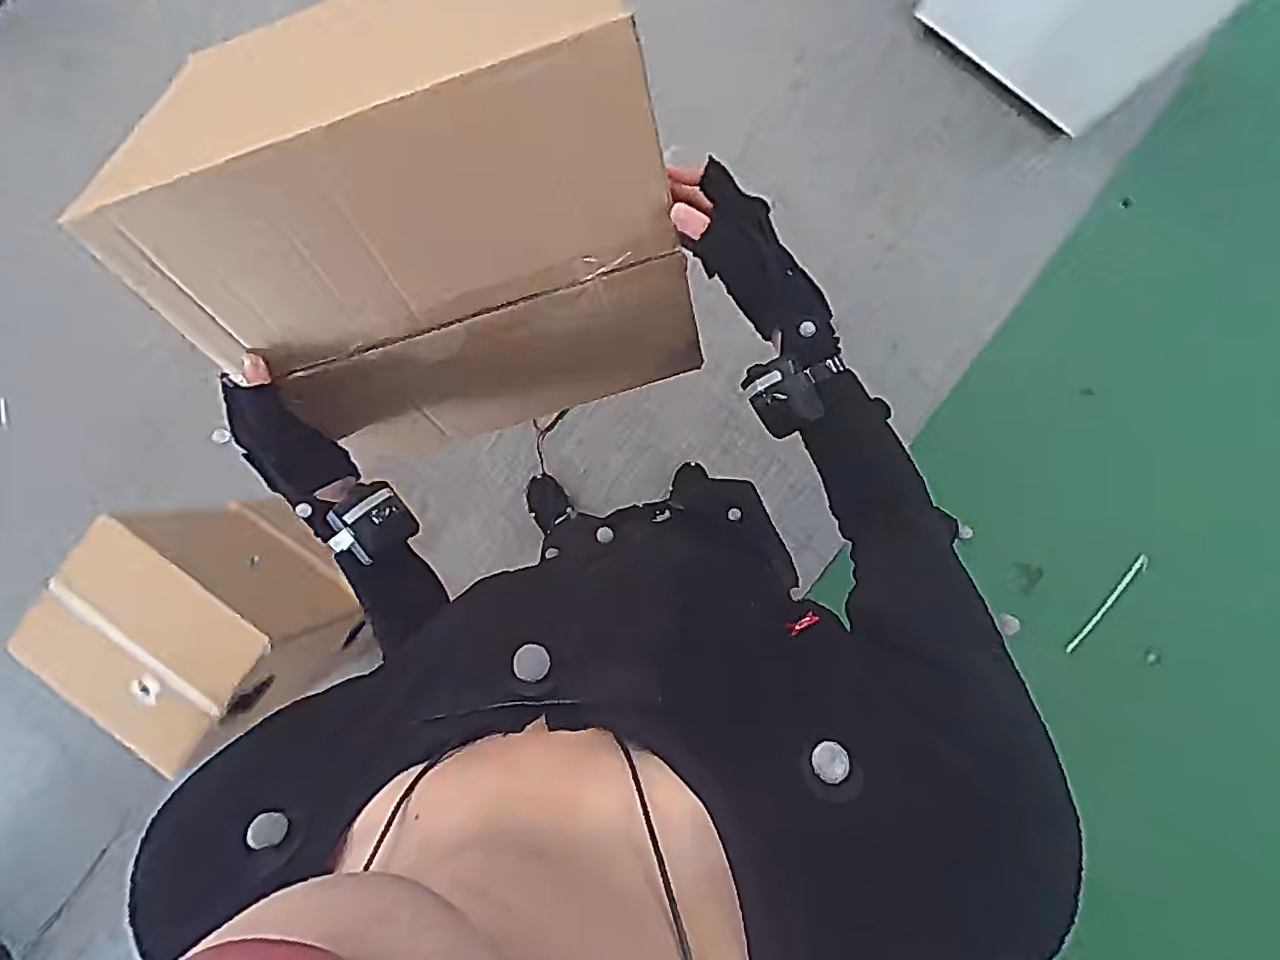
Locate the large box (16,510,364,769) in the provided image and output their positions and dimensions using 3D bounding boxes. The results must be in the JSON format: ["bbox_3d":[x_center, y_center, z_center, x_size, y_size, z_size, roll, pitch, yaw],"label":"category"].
[{"bbox_3d":[-0.899,0.297,1.137,0.408,0.320,0.320,36,90,2],"label":"large box"}]
